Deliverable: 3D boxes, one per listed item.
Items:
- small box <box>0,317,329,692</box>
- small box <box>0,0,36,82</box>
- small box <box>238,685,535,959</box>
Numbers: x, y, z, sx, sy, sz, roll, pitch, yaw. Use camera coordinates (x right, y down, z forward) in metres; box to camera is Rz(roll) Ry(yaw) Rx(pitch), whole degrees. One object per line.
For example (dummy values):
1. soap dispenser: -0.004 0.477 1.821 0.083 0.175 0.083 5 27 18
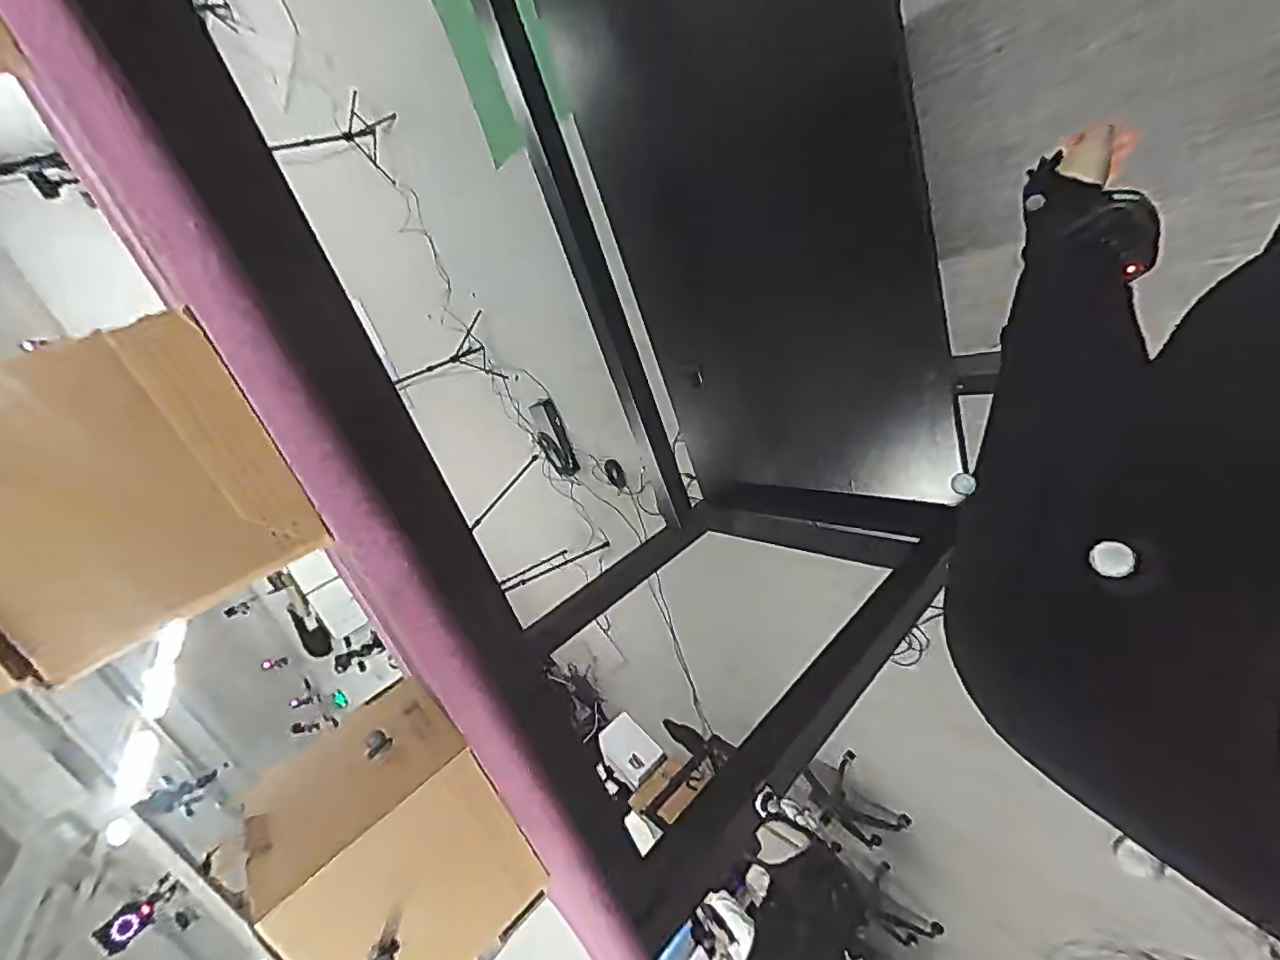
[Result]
1. small box: -0.353 0.004 0.388 0.168 0.176 0.179 8 124 54
2. small box: -0.479 -0.314 0.269 0.179 0.176 0.168 17 133 50
3. small box: -0.222 0.328 0.488 0.168 0.176 0.179 5 121 52
